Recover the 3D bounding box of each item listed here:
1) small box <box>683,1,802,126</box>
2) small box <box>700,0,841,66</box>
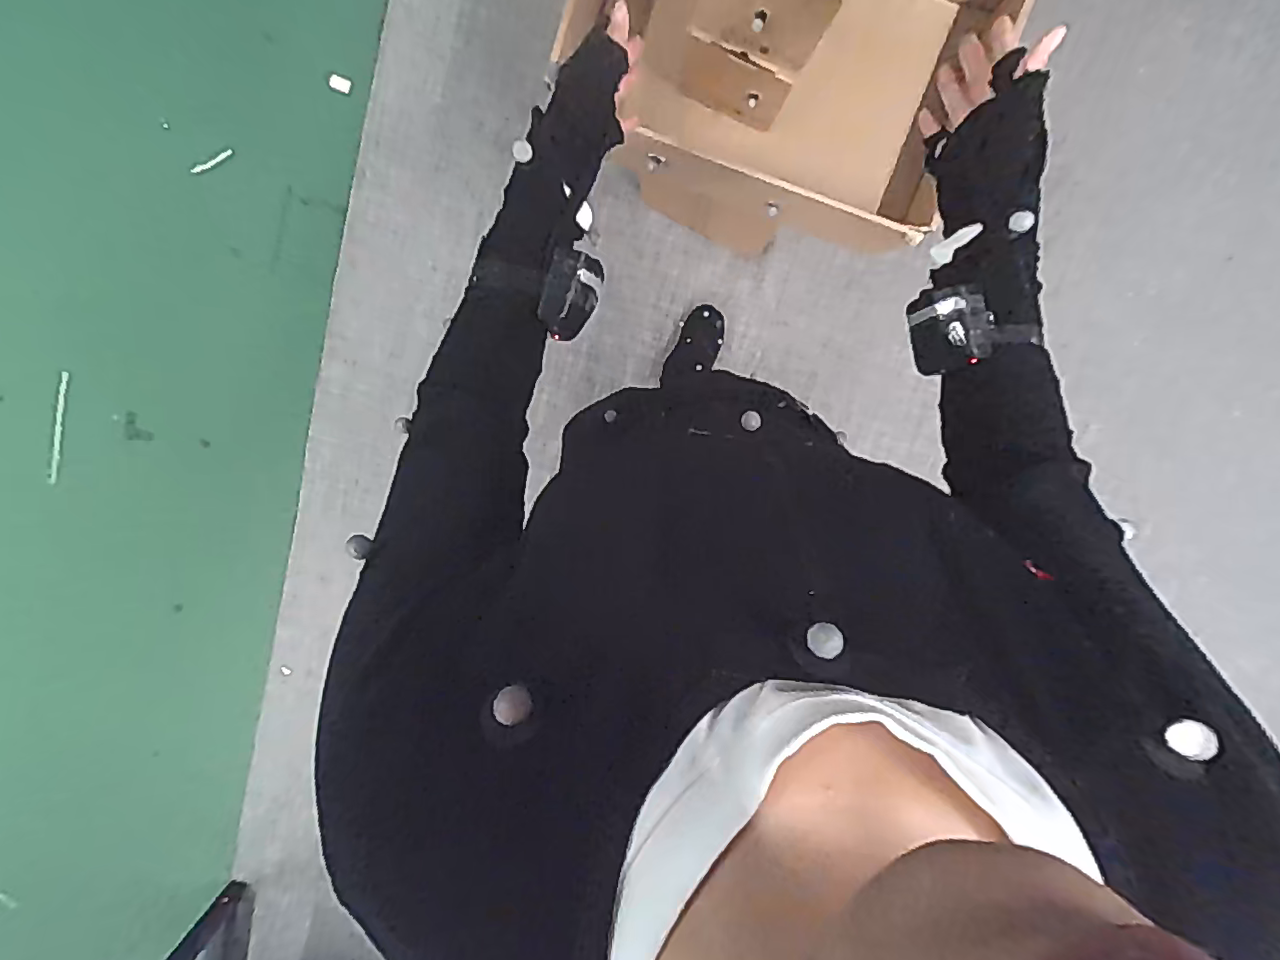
[{"bbox_3d":[0.172,-0.680,0.812,0.168,0.176,0.179,21,99,-6],"label":"small box"},{"bbox_3d":[0.181,-0.655,0.650,0.168,0.176,0.179,20,102,-6],"label":"small box"}]
